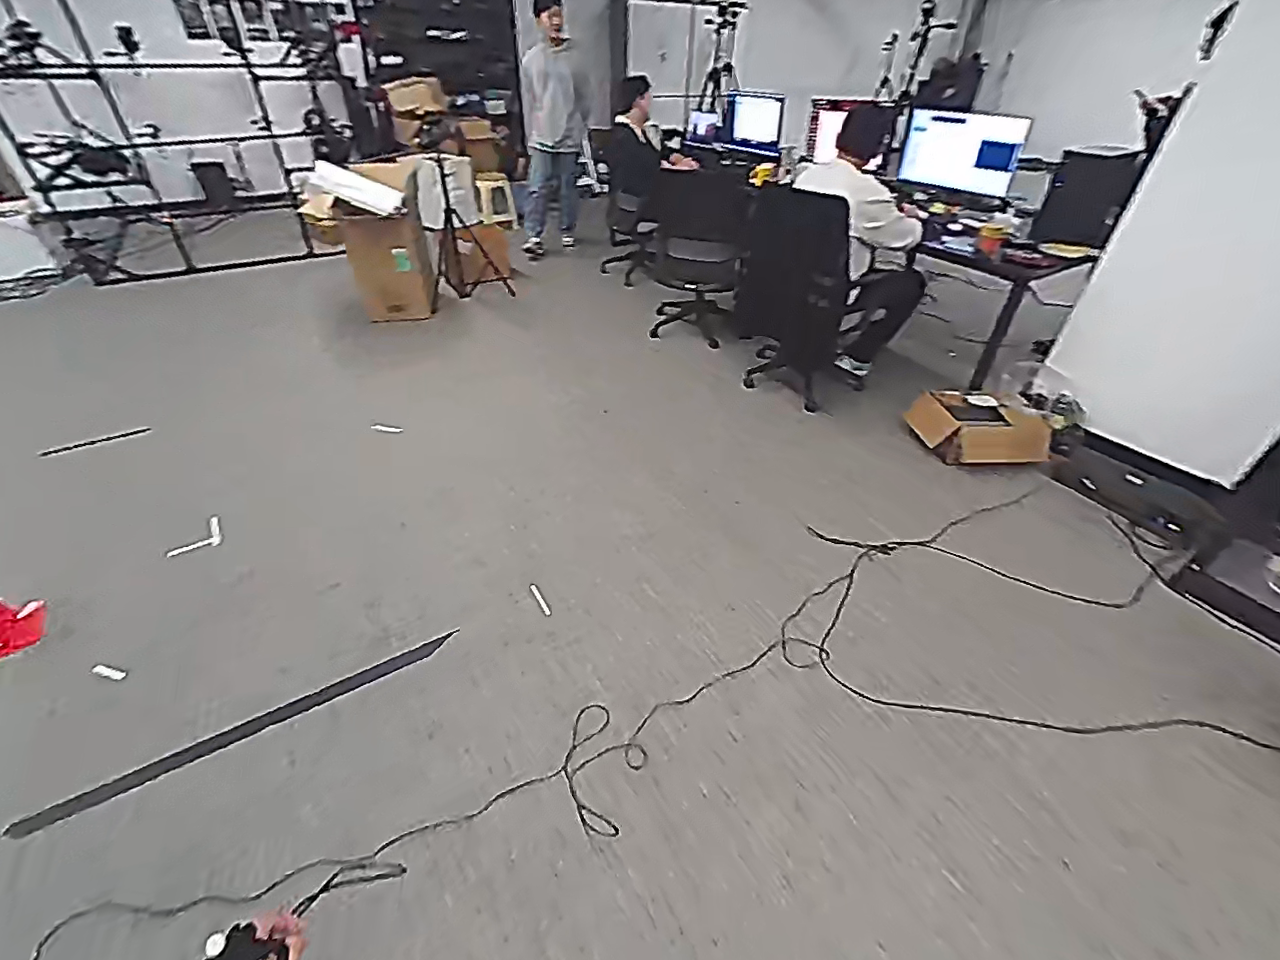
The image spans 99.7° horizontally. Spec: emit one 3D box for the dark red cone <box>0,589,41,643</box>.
[{"bbox_3d":[-1.915,0.300,1.504,0.202,0.394,0.201,-26,47,-30],"label":"dark red cone"}]
